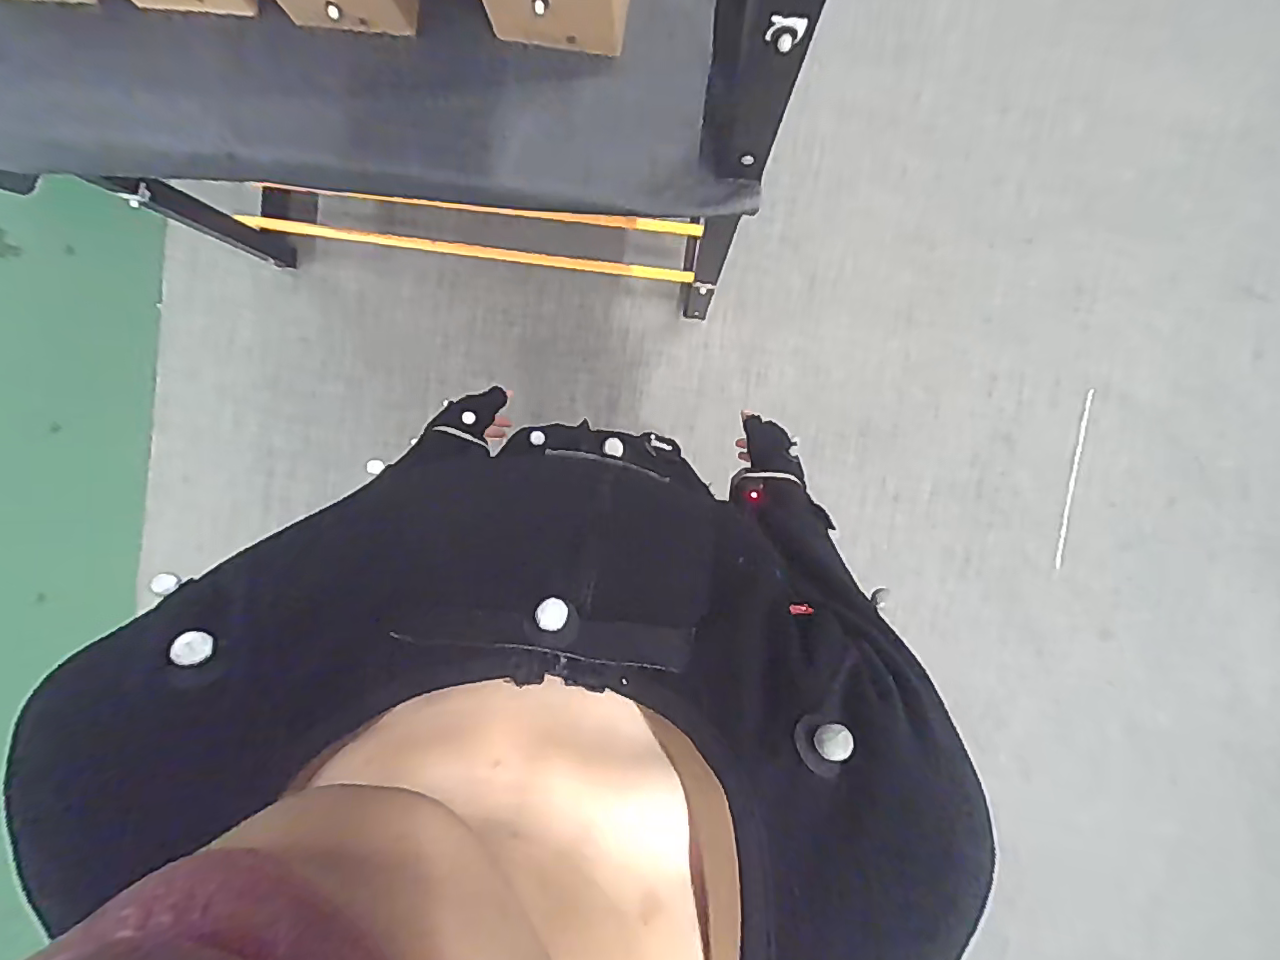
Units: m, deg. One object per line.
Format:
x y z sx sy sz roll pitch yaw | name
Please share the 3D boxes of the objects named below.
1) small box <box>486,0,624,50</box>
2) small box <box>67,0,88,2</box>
-0.099 -0.645 0.618 0.168 0.176 0.179 10 94 1 | small box
-0.803 -0.730 0.641 0.168 0.176 0.179 5 95 2 | small box
